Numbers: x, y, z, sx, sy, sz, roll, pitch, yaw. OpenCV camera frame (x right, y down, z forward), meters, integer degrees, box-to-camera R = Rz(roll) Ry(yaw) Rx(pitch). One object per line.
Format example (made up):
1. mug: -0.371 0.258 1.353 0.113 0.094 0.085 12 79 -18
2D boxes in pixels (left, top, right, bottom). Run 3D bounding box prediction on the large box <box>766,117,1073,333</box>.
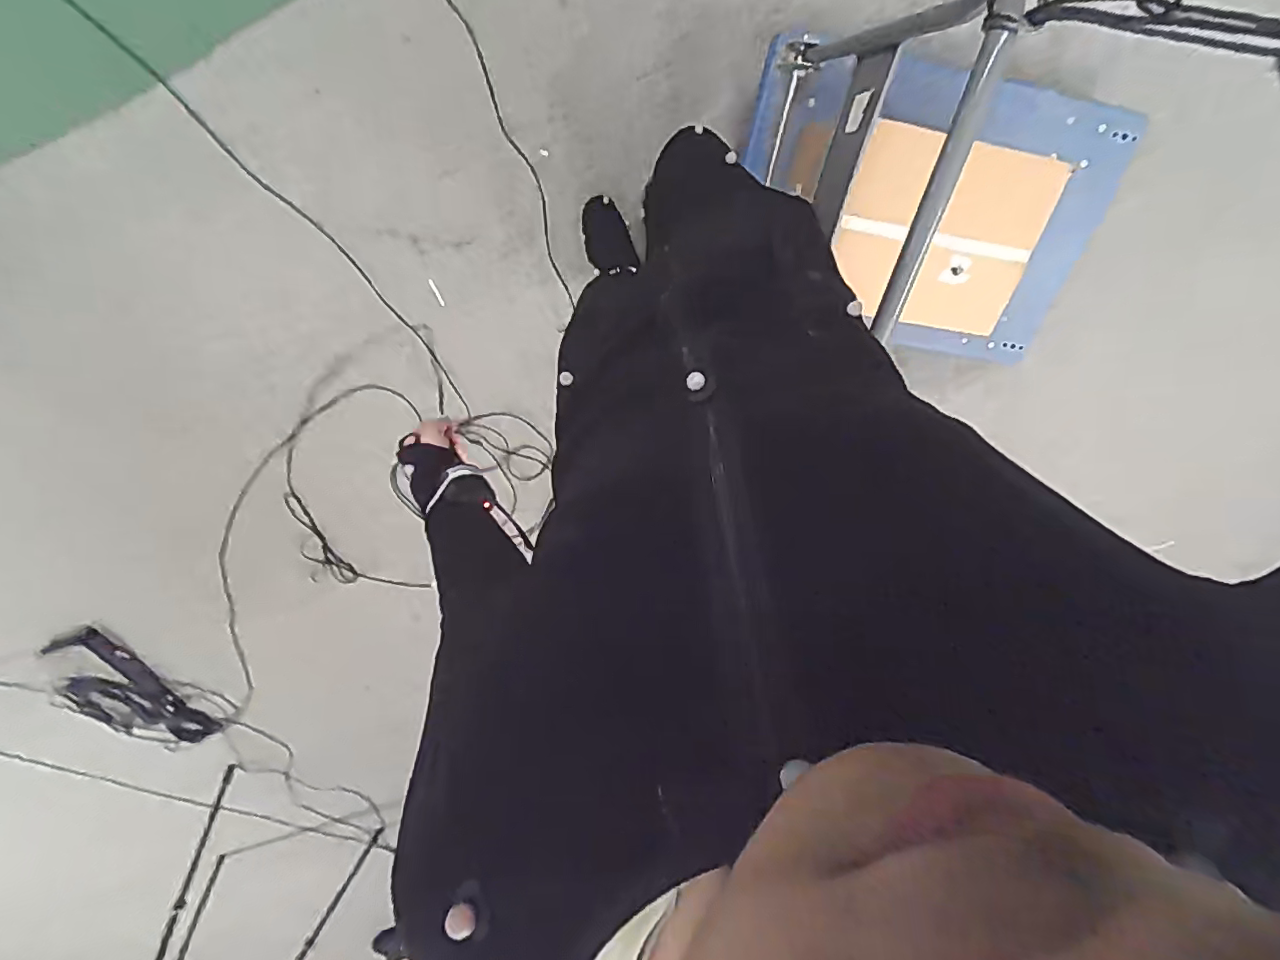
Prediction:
1. large box: 0.526 -0.521 1.114 0.408 0.320 0.320 6 121 -10
